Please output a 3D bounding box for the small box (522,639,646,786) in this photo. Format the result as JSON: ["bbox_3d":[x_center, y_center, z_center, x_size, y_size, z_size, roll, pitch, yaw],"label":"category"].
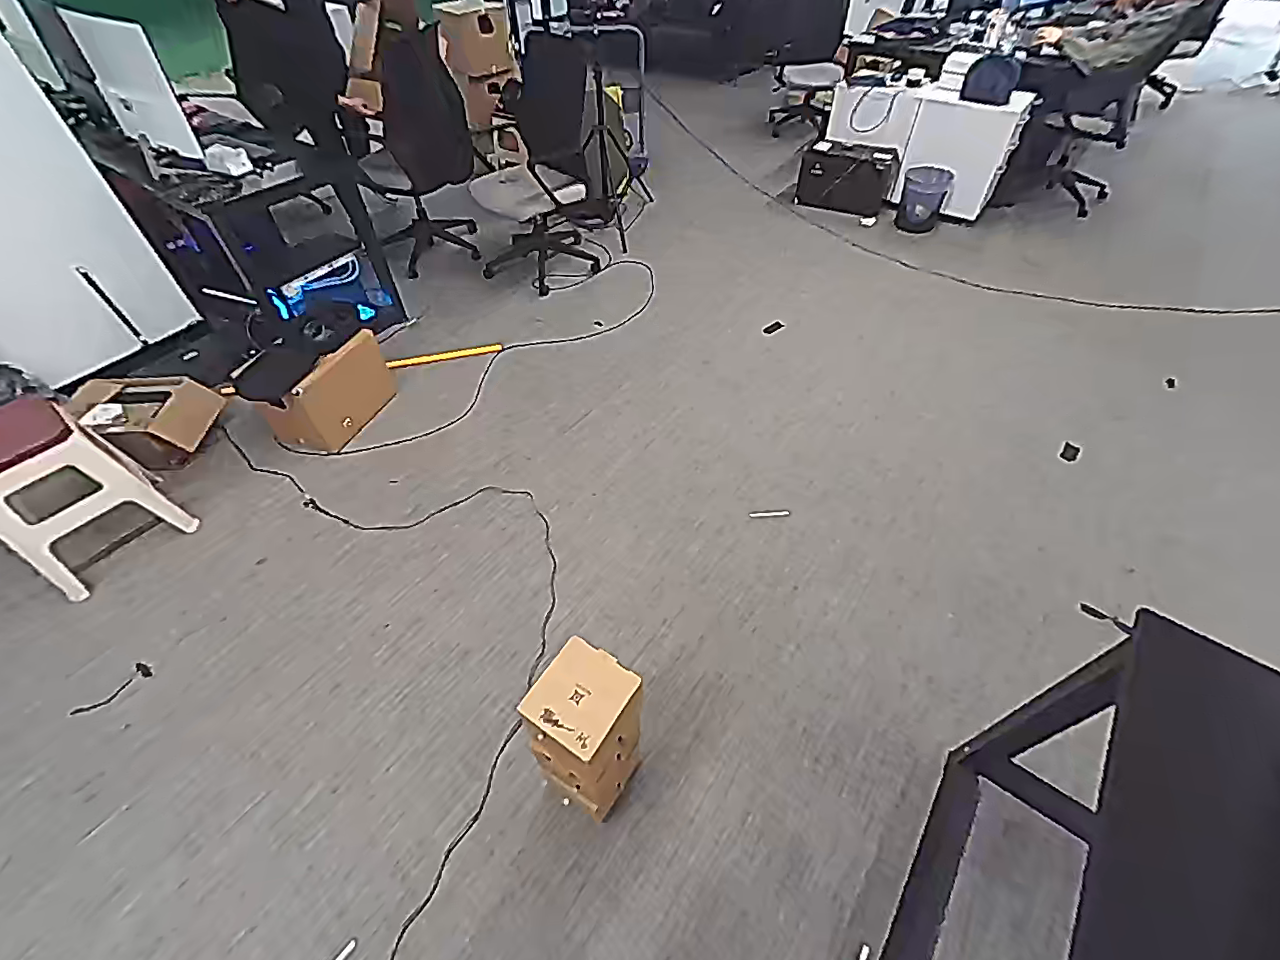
[{"bbox_3d":[-0.103,0.453,1.054,0.168,0.176,0.179,25,53,22],"label":"small box"}]

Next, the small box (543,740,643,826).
[{"bbox_3d":[-0.106,0.681,1.288,0.168,0.176,0.179,25,54,22],"label":"small box"}]

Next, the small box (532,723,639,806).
[{"bbox_3d":[-0.107,0.569,1.171,0.168,0.176,0.179,23,51,20],"label":"small box"}]
